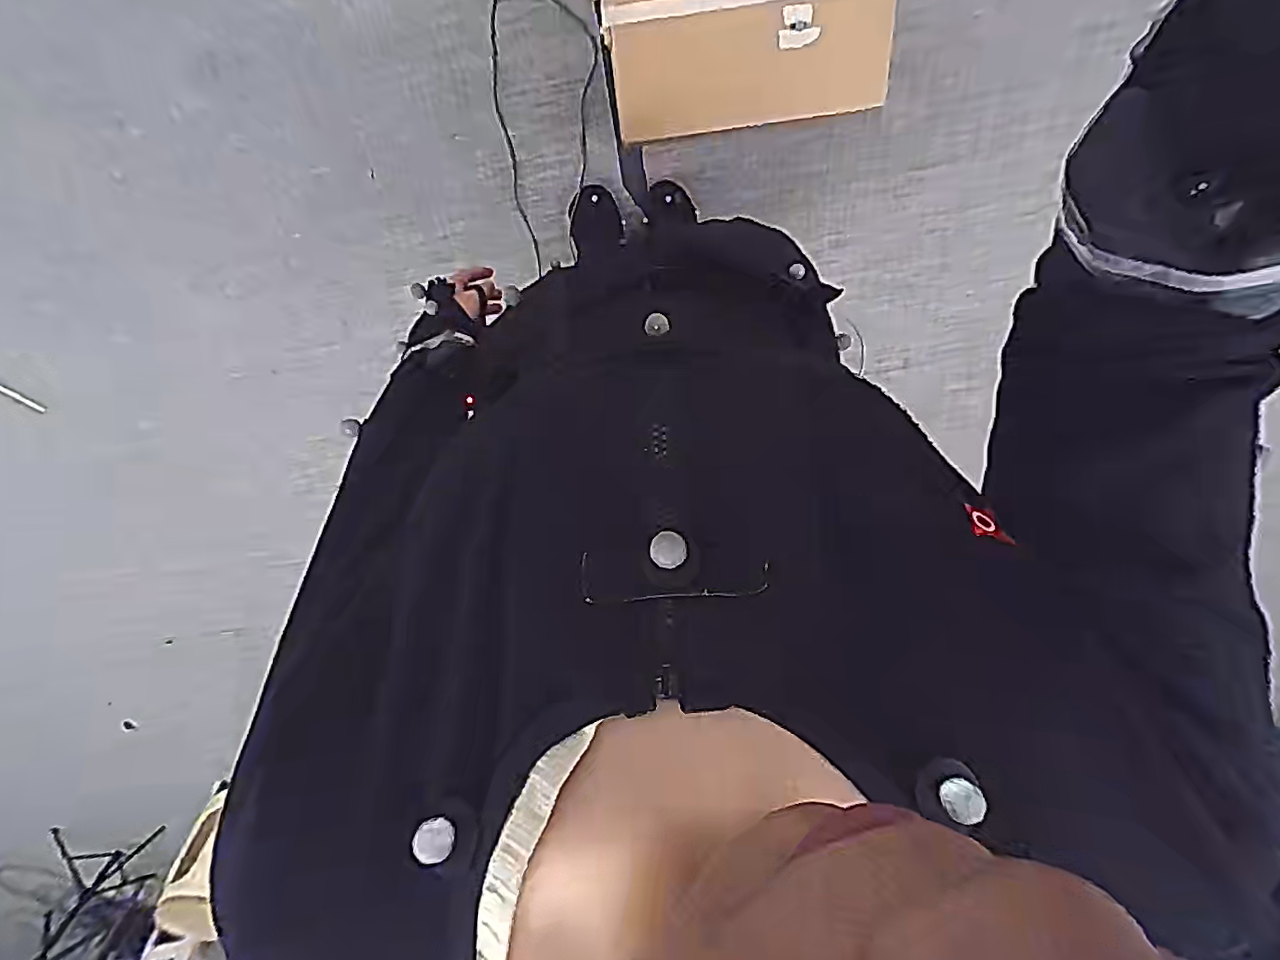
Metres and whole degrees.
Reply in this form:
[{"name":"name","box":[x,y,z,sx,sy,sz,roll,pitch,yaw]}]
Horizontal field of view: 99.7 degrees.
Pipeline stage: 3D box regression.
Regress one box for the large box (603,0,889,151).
[{"name":"large box","box":[0.147,-0.753,0.887,0.408,0.320,0.320,-7,120,2]}]
